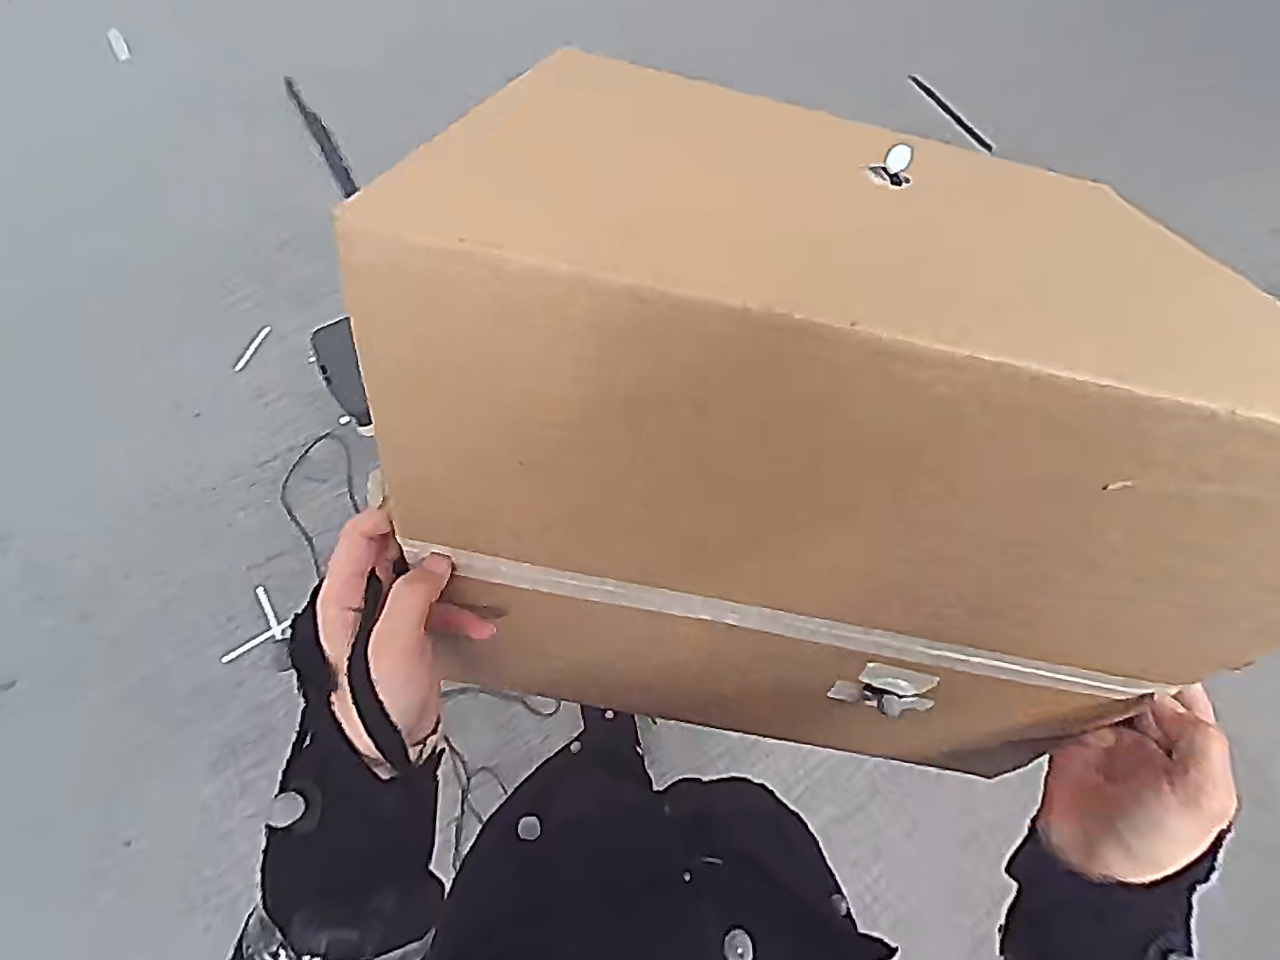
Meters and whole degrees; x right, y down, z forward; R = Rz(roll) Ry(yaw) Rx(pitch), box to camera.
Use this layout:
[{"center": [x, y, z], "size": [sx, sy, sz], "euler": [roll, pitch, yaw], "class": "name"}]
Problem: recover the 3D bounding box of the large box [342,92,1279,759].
[{"center": [0.088, -0.036, 0.388], "size": [0.408, 0.320, 0.320], "euler": [10, 46, -3], "class": "large box"}]
